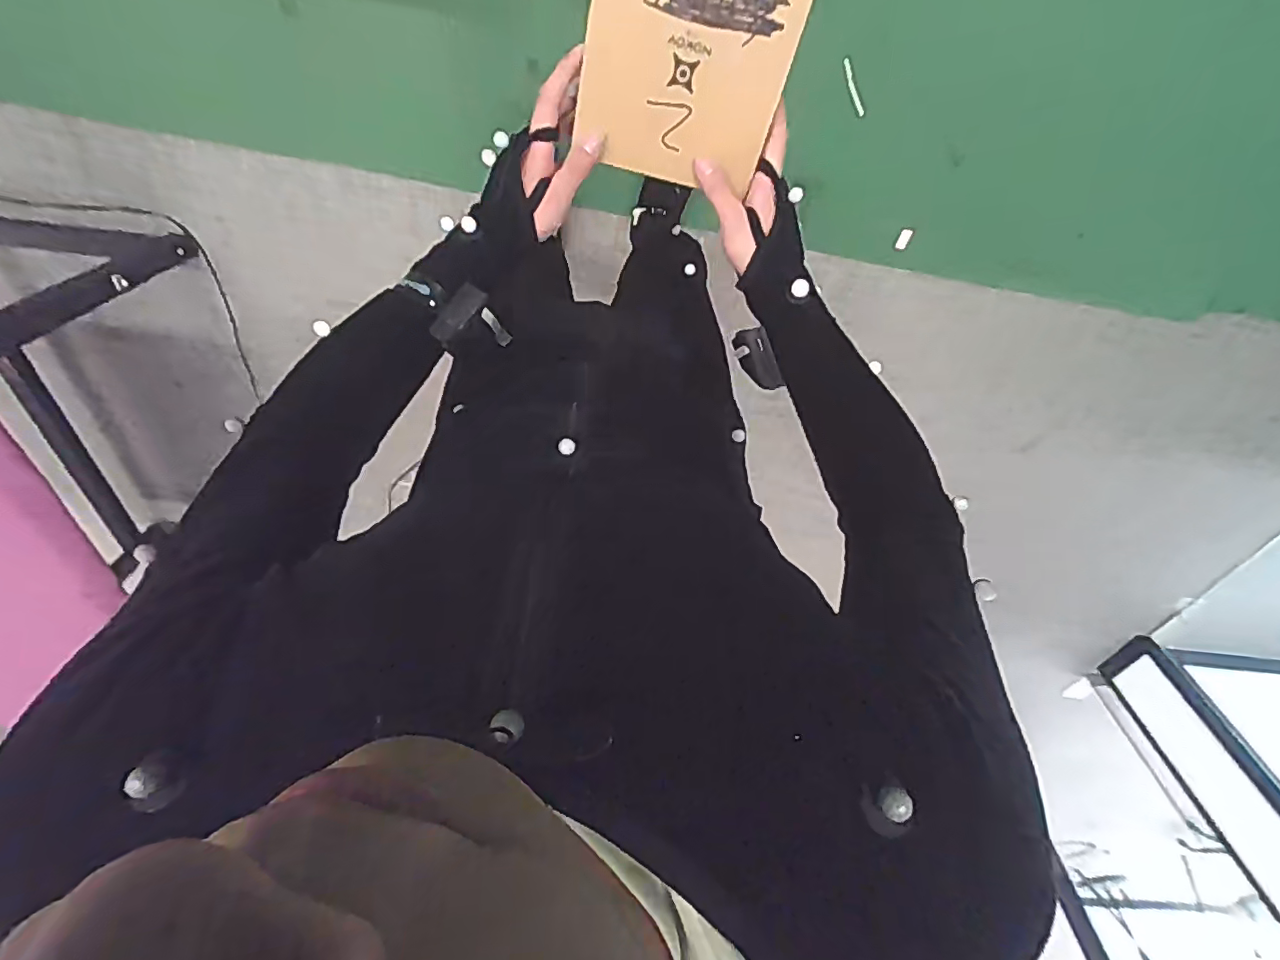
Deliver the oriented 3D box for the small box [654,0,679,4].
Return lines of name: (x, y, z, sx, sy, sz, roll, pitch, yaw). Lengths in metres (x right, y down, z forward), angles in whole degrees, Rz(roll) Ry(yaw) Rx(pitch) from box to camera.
small box: (0.008, -0.987, 0.965, 0.168, 0.176, 0.179, 9, 129, -7)
